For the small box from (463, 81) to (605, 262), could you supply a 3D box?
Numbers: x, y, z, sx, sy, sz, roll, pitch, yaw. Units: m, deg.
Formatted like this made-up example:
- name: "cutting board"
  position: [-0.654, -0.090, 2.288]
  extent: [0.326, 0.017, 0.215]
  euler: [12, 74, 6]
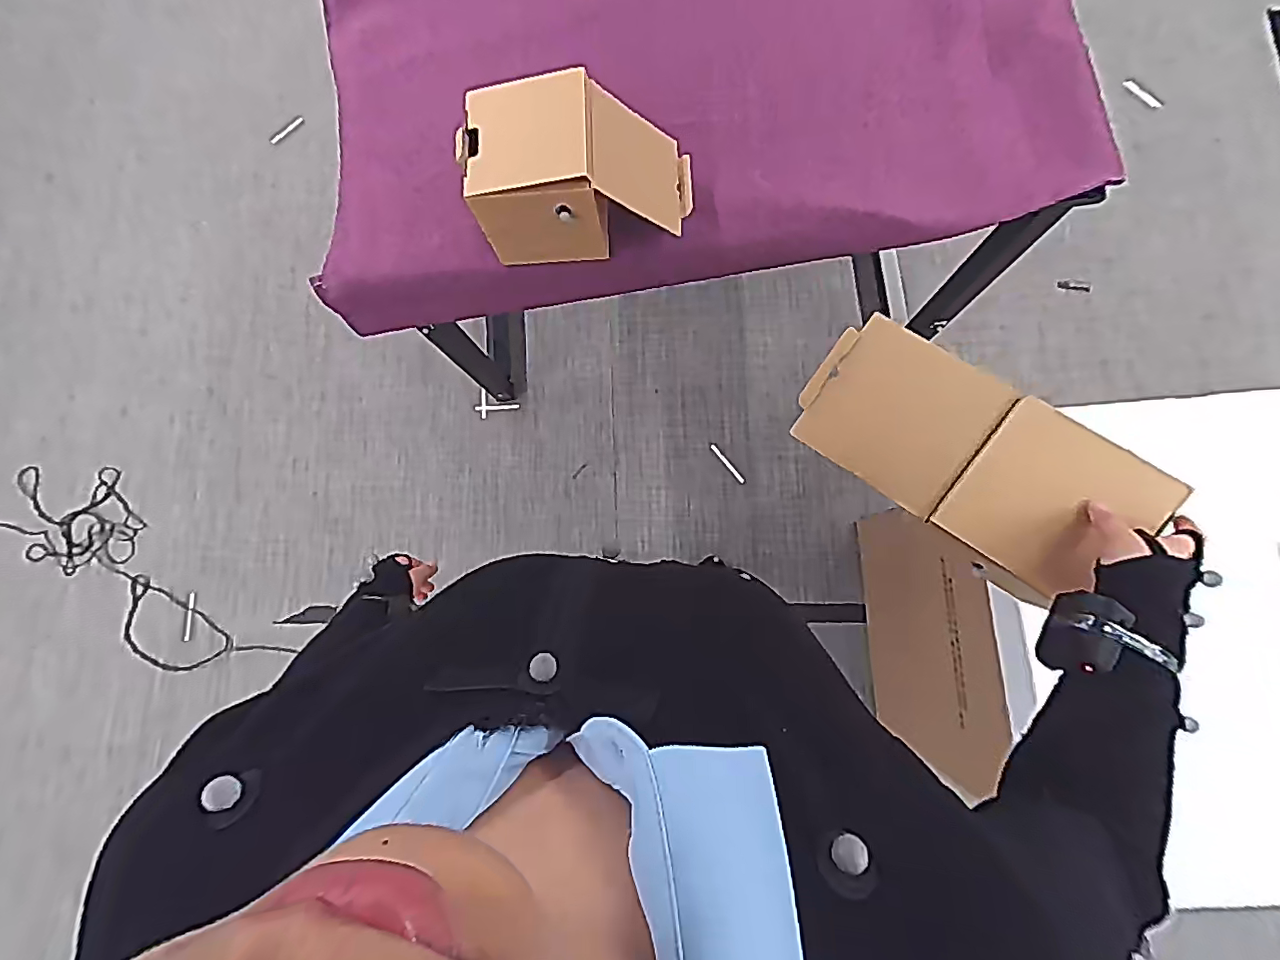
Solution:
- name: "small box"
  position: [-0.146, -0.447, 0.807]
  extent: [0.179, 0.176, 0.168]
  euler: [-2, 80, 4]
